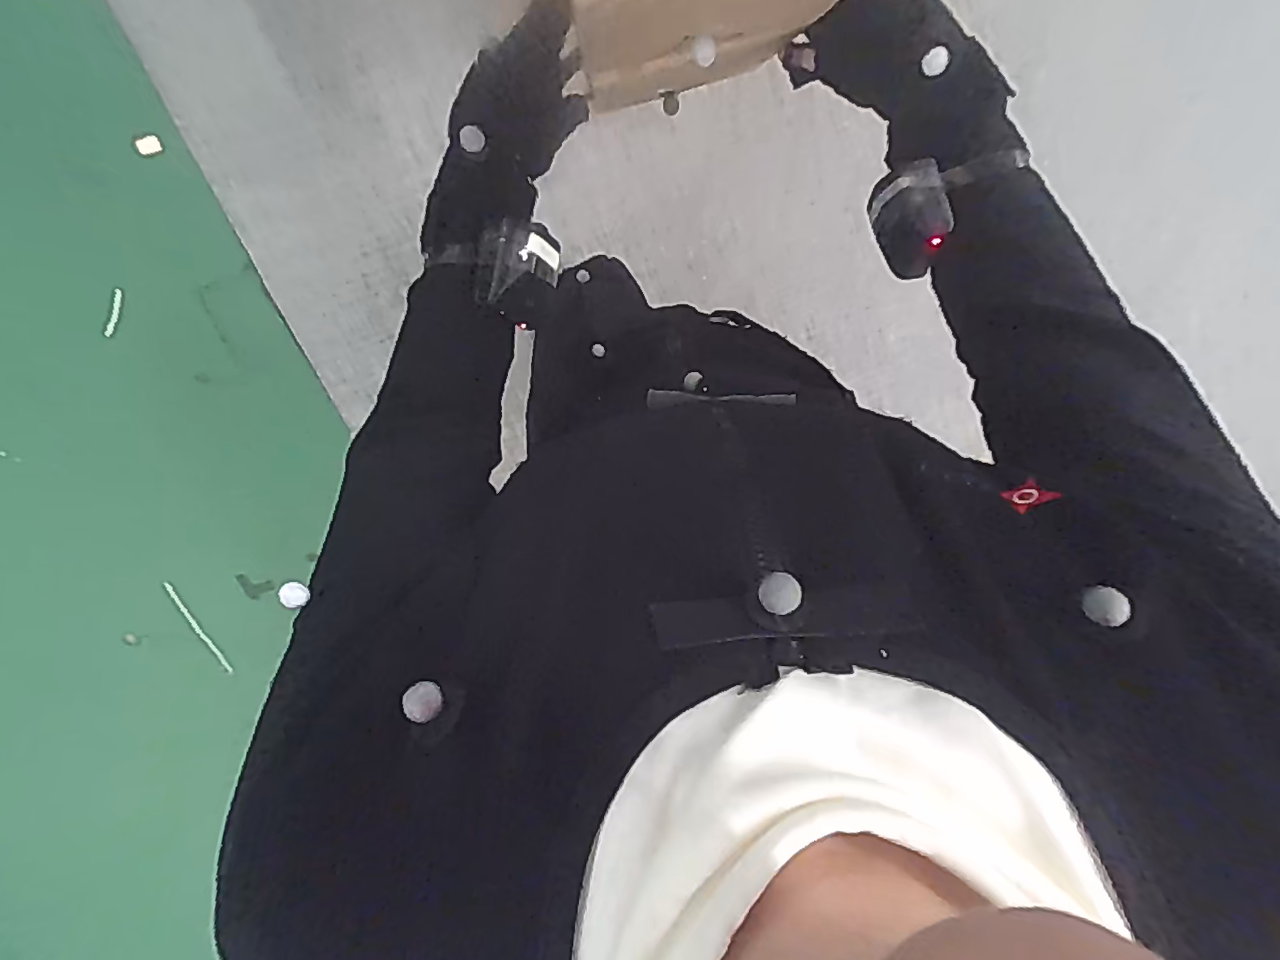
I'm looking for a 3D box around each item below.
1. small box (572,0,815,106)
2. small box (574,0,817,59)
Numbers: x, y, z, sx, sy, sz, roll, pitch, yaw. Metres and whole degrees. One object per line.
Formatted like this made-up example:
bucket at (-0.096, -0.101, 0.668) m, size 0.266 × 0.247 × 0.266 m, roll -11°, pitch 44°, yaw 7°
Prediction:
small box at (0.021, -0.423, 0.420) m, size 0.168 × 0.176 × 0.179 m, roll -14°, pitch 118°, yaw 5°
small box at (0.030, -0.352, 0.271) m, size 0.168 × 0.176 × 0.179 m, roll -11°, pitch 118°, yaw 3°
